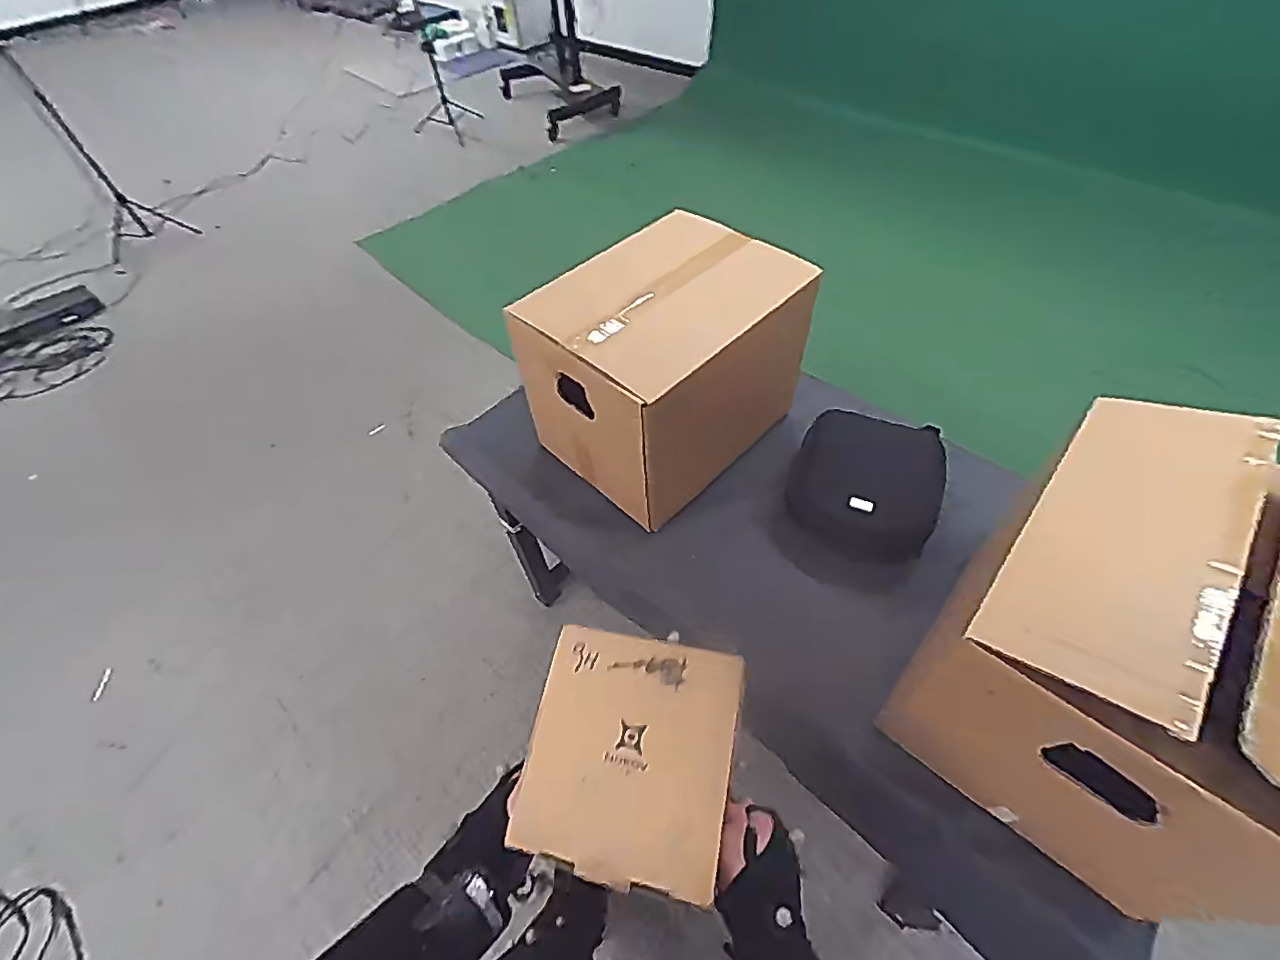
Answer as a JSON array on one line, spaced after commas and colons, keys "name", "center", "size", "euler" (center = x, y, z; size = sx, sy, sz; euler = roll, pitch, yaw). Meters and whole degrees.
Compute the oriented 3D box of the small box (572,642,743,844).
[{"name": "small box", "center": [0.035, 0.314, 0.660], "size": [0.168, 0.176, 0.179], "euler": [5, 63, 14]}]
